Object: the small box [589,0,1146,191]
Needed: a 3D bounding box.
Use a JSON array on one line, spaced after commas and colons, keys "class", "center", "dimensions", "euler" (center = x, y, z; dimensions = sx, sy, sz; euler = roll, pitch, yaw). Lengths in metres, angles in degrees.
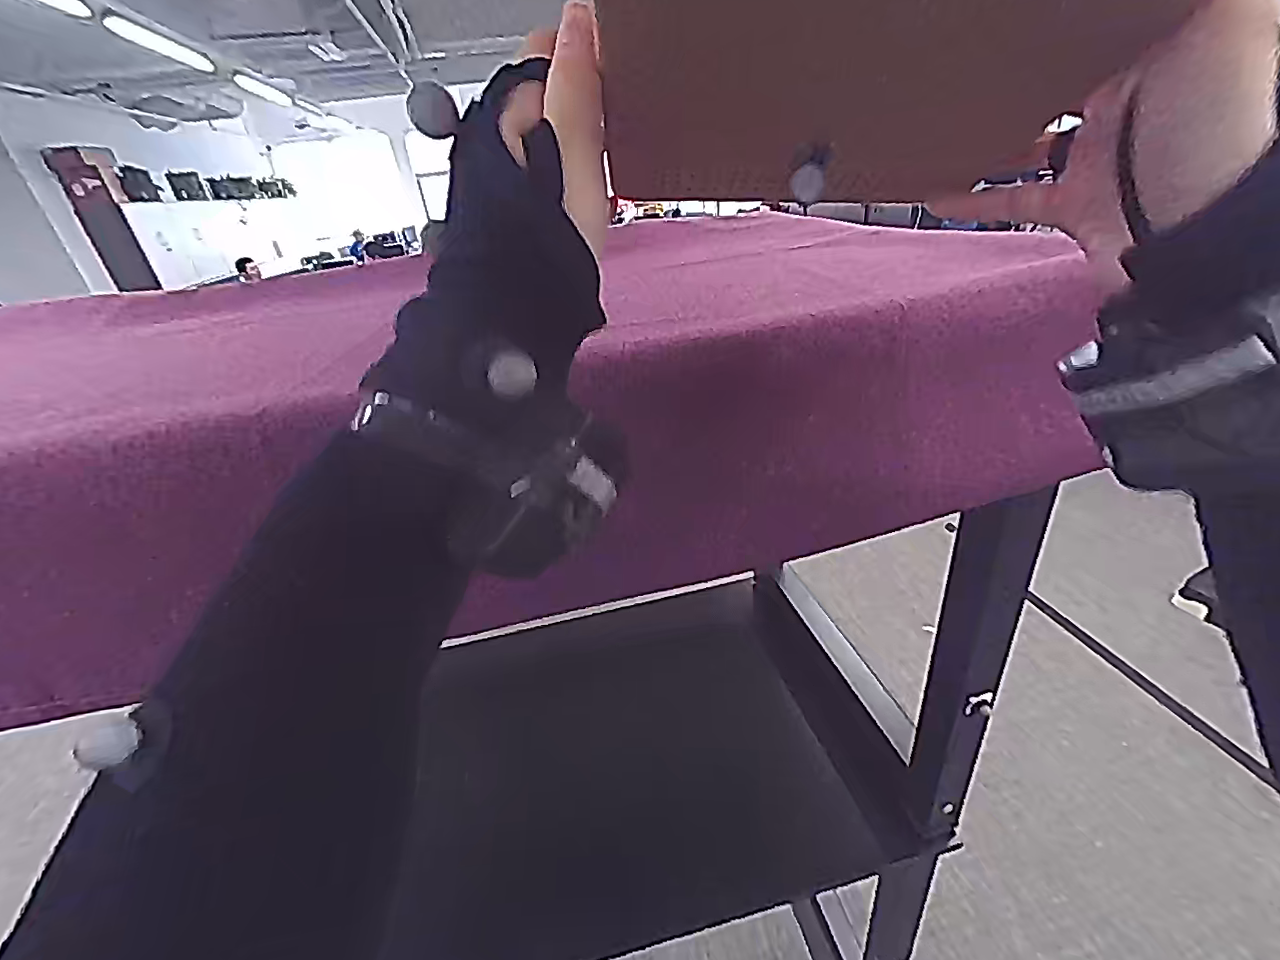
[{"class": "small box", "center": [0.071, -0.225, 0.190], "dimensions": [0.179, 0.168, 0.176], "euler": [0, 1, 0]}]
